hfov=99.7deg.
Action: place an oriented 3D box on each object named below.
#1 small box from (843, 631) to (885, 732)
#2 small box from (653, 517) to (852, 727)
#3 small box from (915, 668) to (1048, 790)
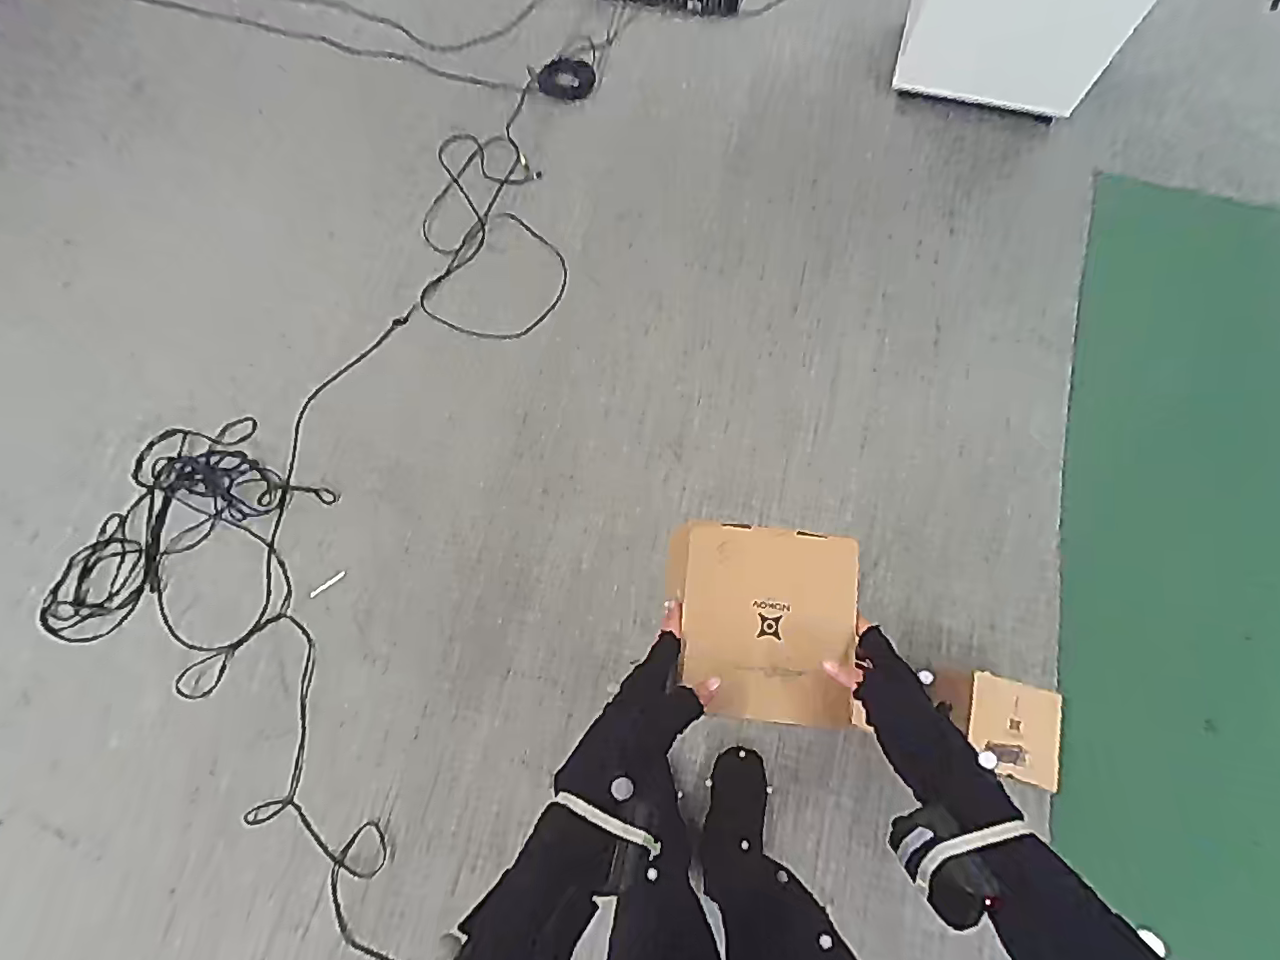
[{"bbox_3d":[0.384,0.400,1.138,0.168,0.176,0.179,20,75,7],"label":"small box"},{"bbox_3d":[0.108,0.143,0.577,0.168,0.176,0.179,7,80,-3],"label":"small box"},{"bbox_3d":[0.686,0.496,1.103,0.168,0.176,0.179,16,73,5],"label":"small box"}]
